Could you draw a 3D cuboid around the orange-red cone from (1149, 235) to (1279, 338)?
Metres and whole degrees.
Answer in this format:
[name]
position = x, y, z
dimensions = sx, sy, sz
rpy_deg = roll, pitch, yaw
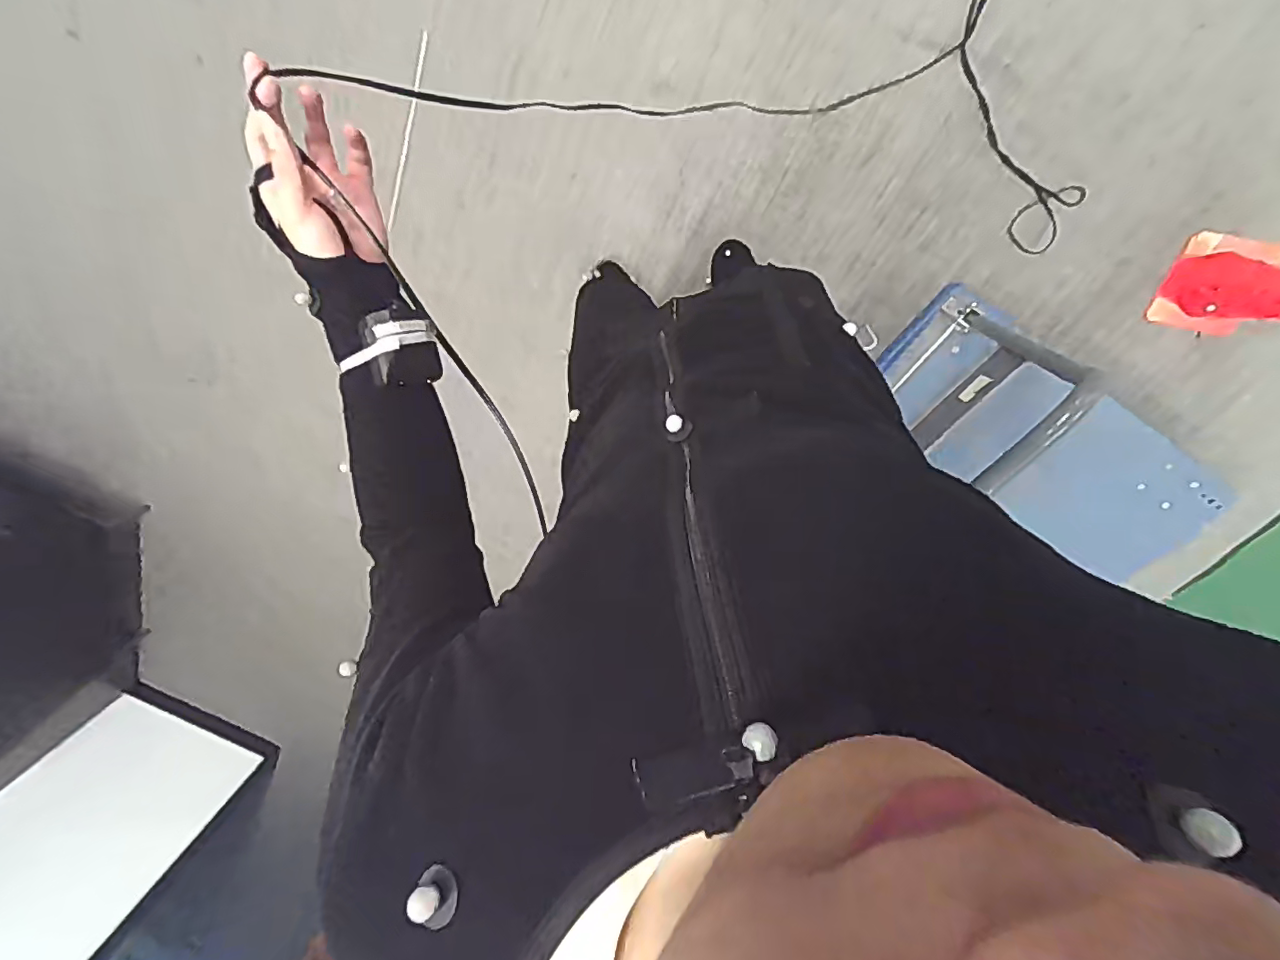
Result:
[orange-red cone]
position = 1.283, -0.365, 1.084
dimensions = 0.198, 0.360, 0.199
rpy_deg = 15, 117, 3
